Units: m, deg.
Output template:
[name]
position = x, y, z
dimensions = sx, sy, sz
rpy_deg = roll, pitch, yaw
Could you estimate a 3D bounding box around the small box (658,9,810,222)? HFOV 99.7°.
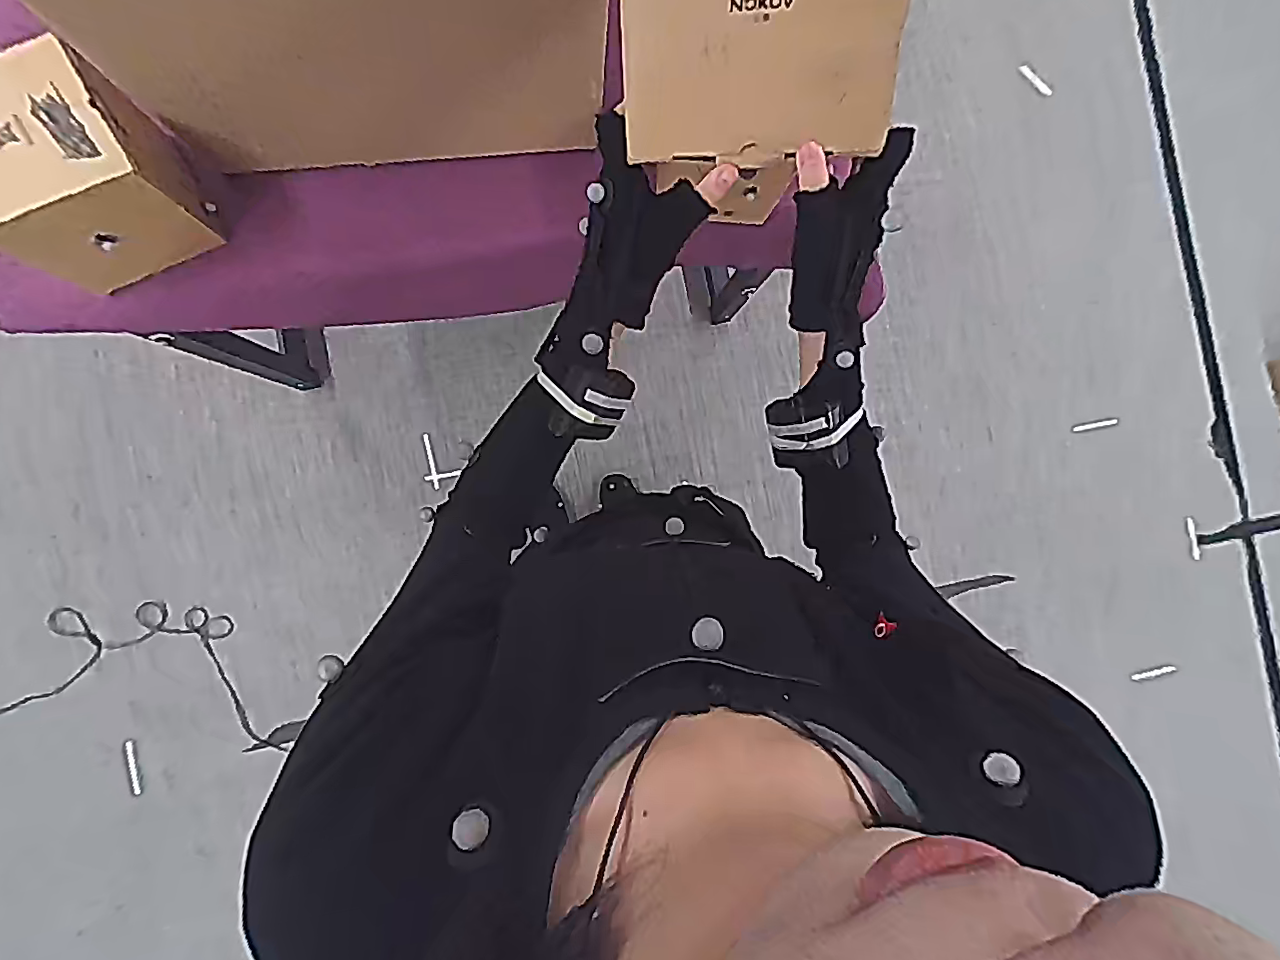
[small box]
position = 0.119, -0.477, 0.736
dimensions = 0.168, 0.176, 0.179
rpy_deg = 1, 87, -7
